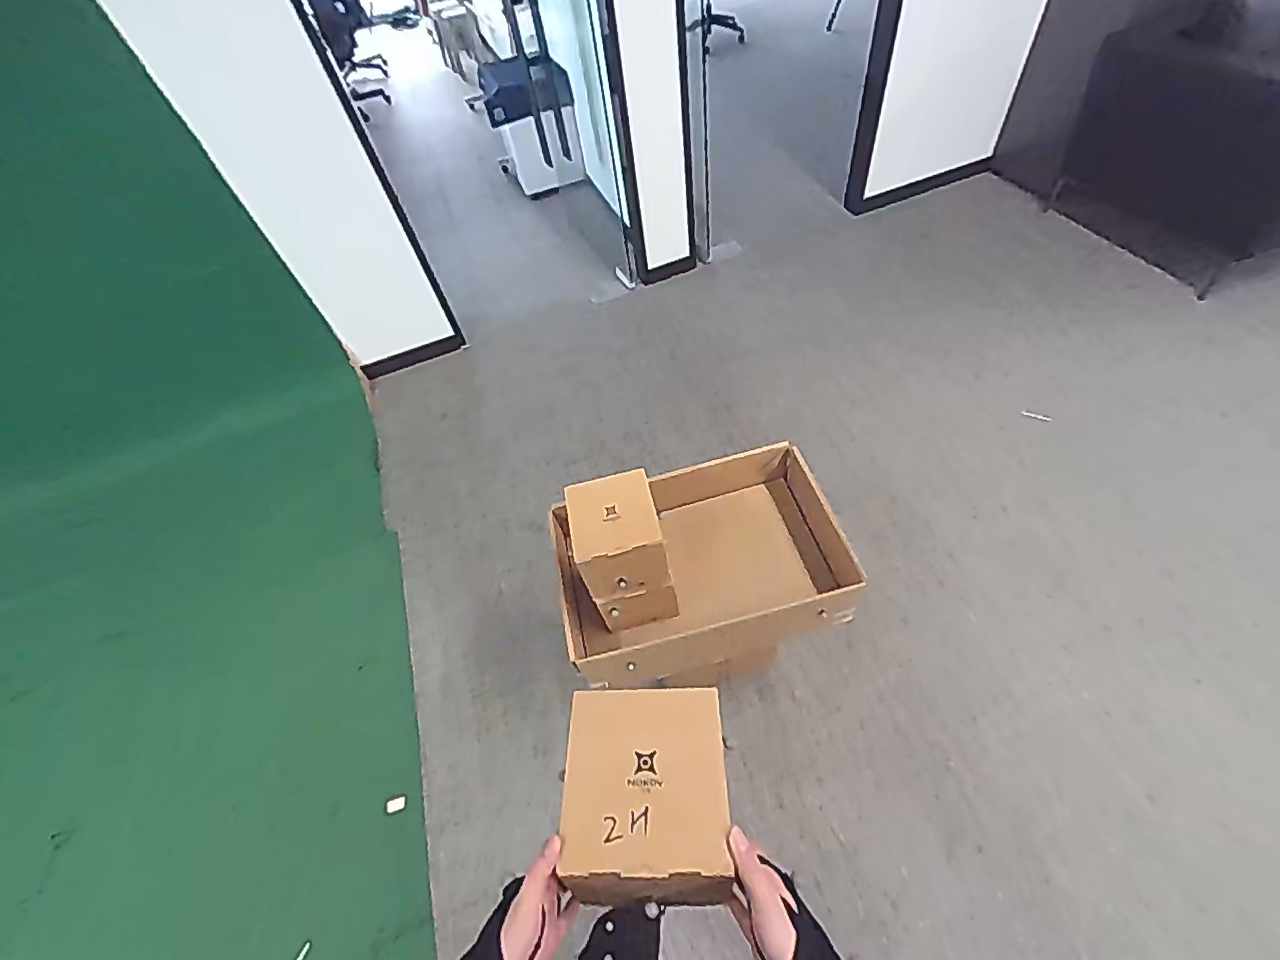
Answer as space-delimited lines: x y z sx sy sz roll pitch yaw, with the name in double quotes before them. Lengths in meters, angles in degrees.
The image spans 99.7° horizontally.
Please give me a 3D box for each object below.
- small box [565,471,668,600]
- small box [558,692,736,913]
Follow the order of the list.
"small box" -0.044 0.113 1.071 0.168 0.176 0.179 -13 54 -2
"small box" 0.013 0.359 0.606 0.168 0.176 0.179 -2 44 4
